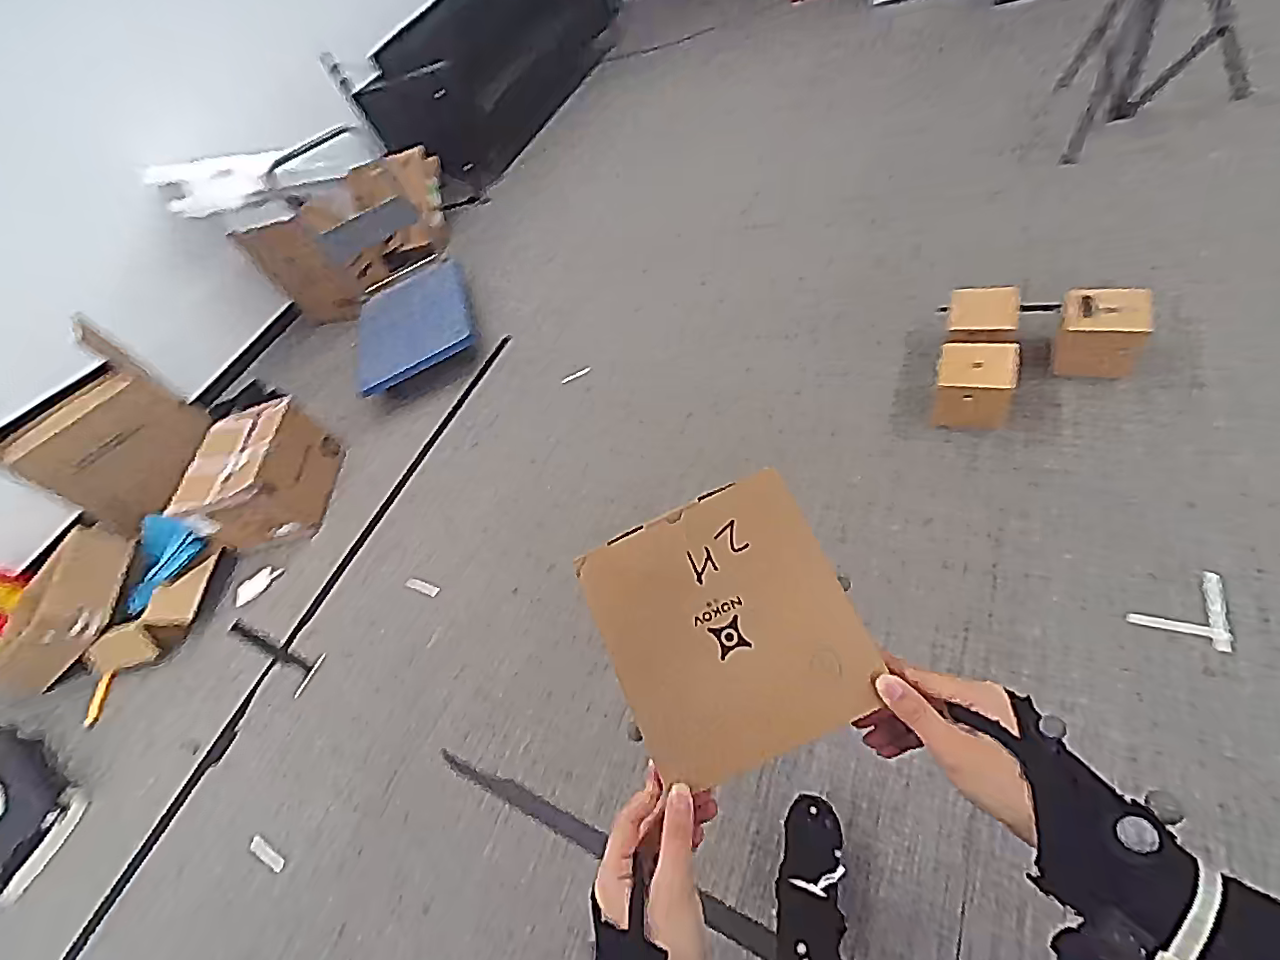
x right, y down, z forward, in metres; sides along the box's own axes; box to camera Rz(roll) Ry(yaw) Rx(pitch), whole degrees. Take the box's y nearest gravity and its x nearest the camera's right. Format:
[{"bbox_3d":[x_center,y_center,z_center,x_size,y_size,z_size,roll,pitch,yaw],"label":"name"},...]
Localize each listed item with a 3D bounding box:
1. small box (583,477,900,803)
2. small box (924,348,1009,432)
[{"bbox_3d":[0.075,0.122,0.449,0.168,0.176,0.179,-25,74,1],"label":"small box"},{"bbox_3d":[0.916,-0.251,1.524,0.179,0.176,0.168,8,59,28],"label":"small box"}]
